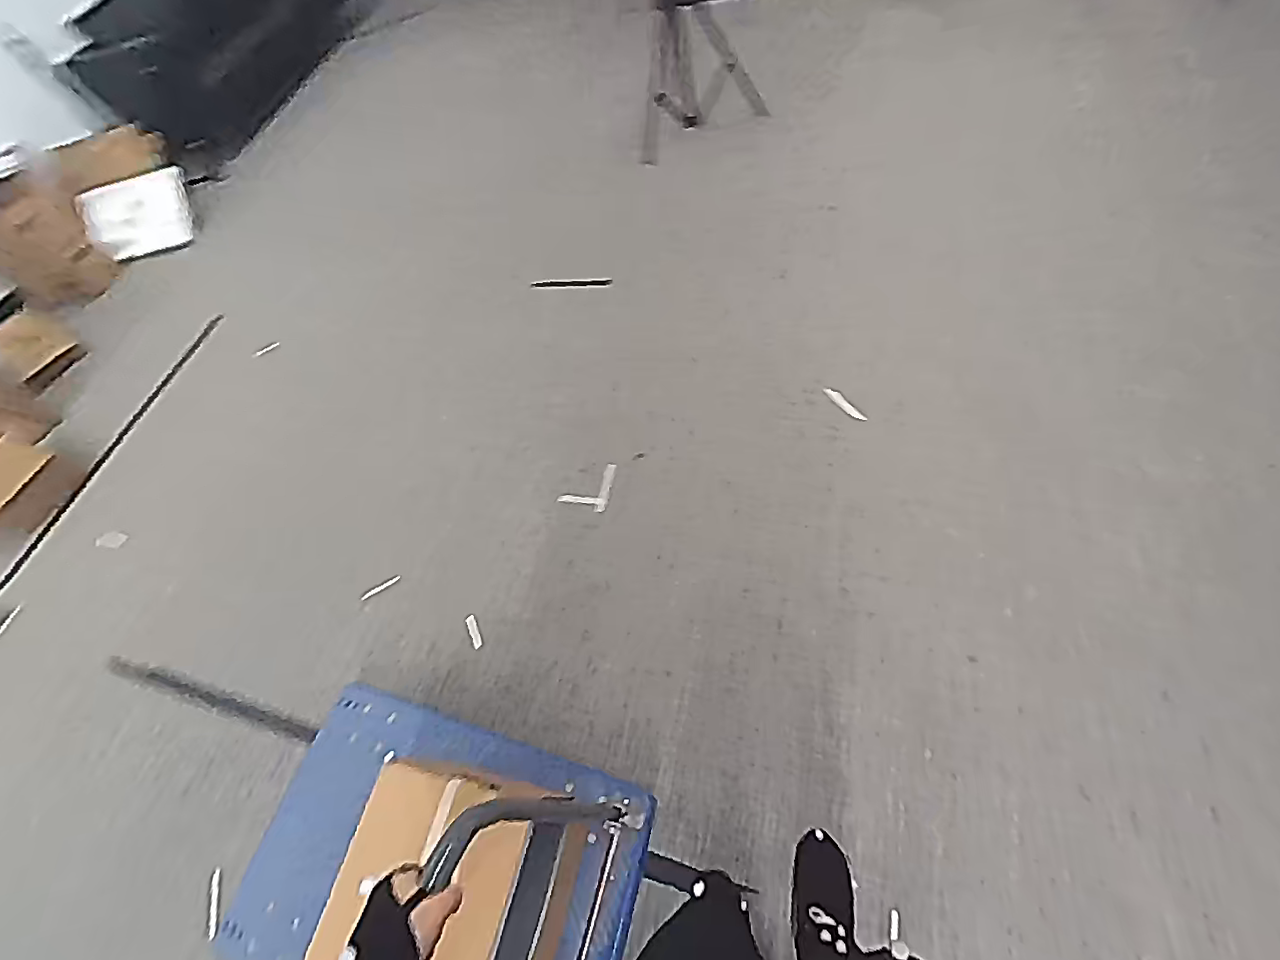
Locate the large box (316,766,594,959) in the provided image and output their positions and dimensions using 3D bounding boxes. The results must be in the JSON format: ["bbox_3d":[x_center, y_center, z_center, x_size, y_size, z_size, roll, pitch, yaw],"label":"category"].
[{"bbox_3d":[-0.315,0.780,0.966,0.320,0.320,0.408,6,60,18],"label":"large box"}]
